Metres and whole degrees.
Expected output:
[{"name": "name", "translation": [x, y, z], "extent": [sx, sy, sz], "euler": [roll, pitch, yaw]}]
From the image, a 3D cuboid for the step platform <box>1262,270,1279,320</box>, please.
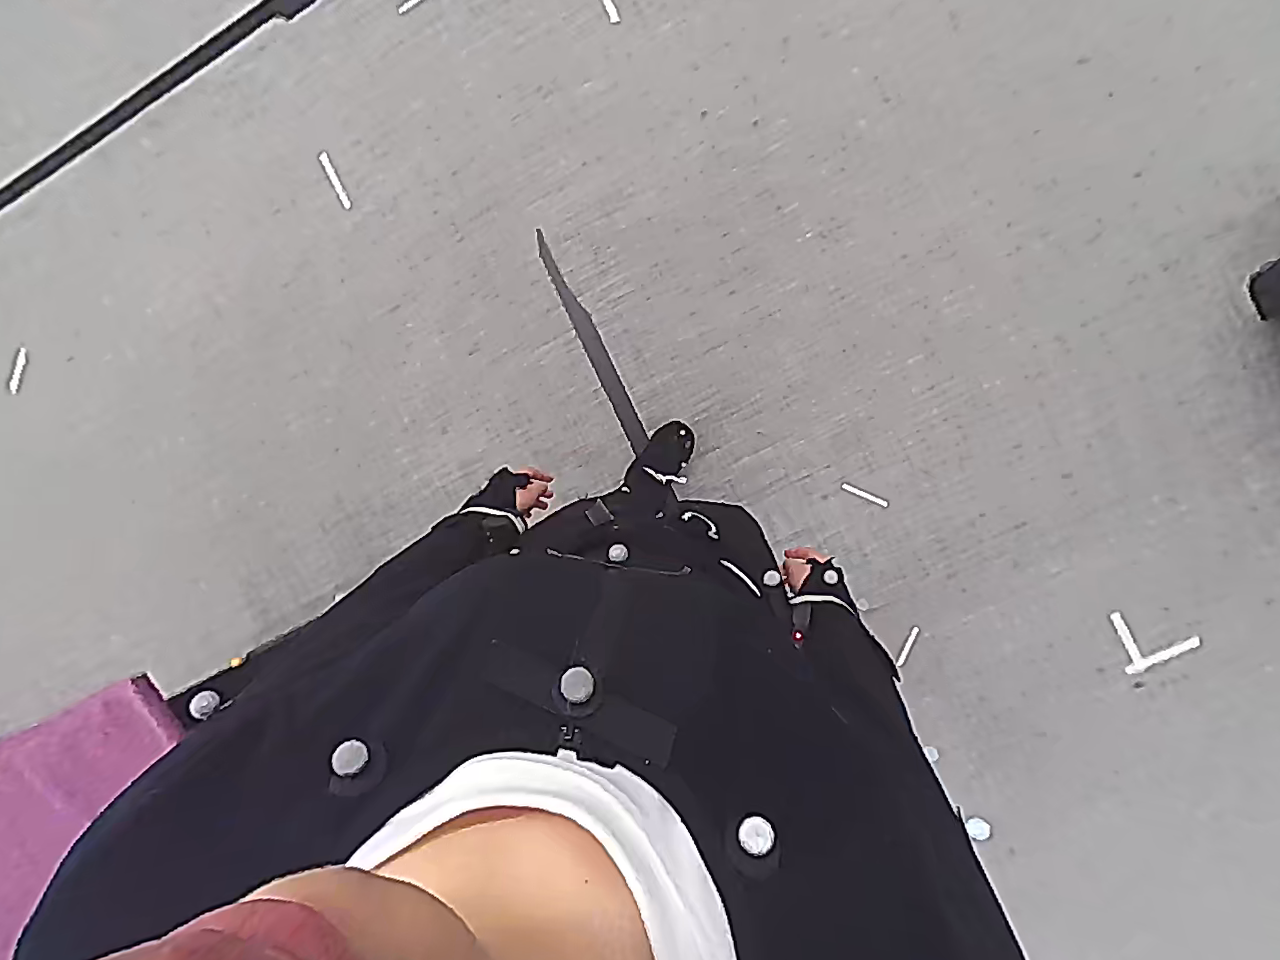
[{"name": "step platform", "translation": [1.635, -0.202, 1.111], "extent": [0.286, 0.204, 0.684], "euler": [-27, 91, 6]}]
